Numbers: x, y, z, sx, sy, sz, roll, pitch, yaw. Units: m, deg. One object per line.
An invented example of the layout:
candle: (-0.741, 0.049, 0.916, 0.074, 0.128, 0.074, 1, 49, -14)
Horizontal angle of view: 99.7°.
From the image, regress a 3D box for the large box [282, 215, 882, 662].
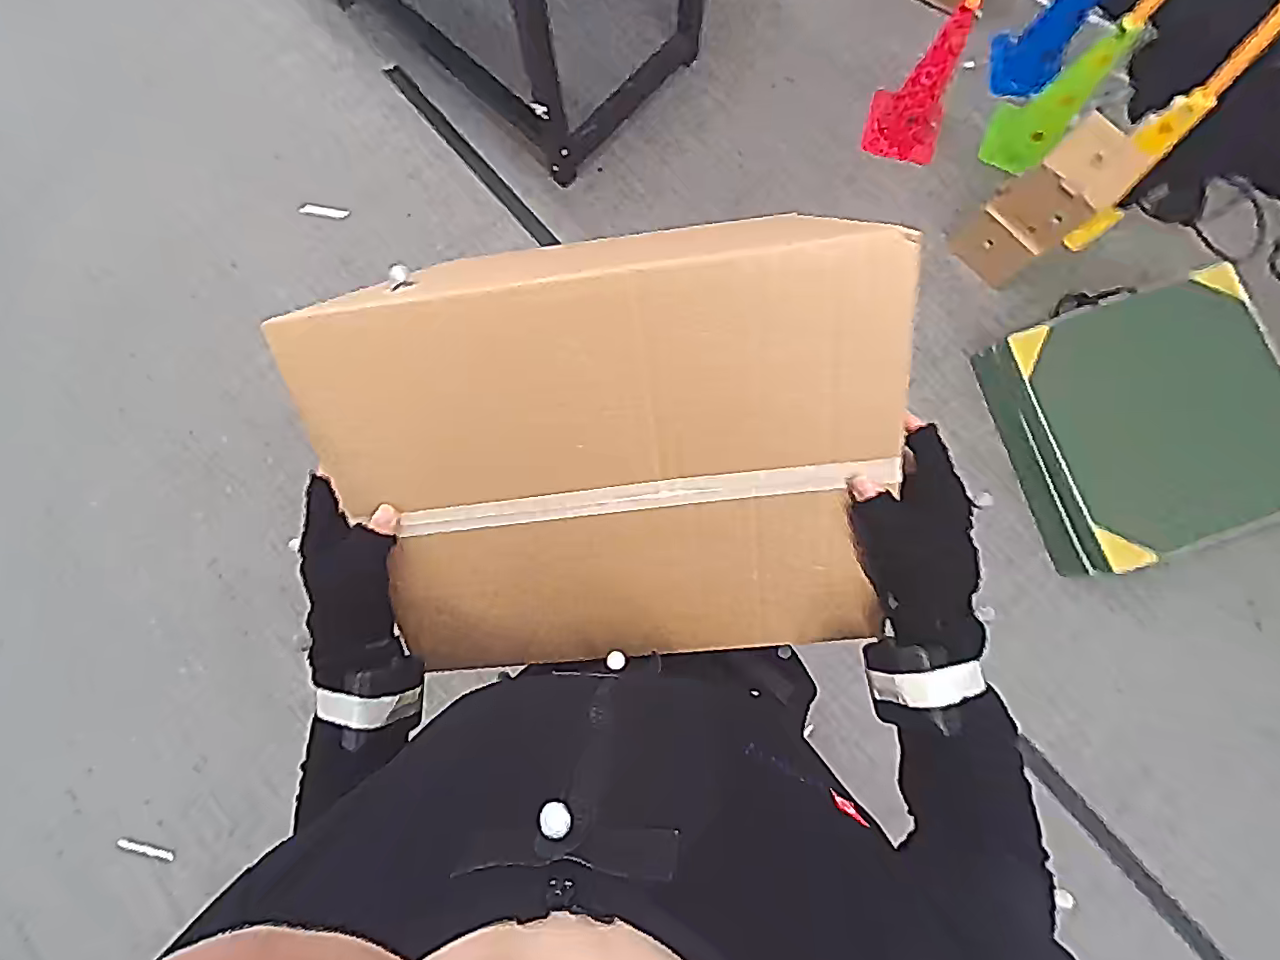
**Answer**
large box: (-0.023, -0.062, 0.542, 0.408, 0.320, 0.320, -8, 118, 5)
